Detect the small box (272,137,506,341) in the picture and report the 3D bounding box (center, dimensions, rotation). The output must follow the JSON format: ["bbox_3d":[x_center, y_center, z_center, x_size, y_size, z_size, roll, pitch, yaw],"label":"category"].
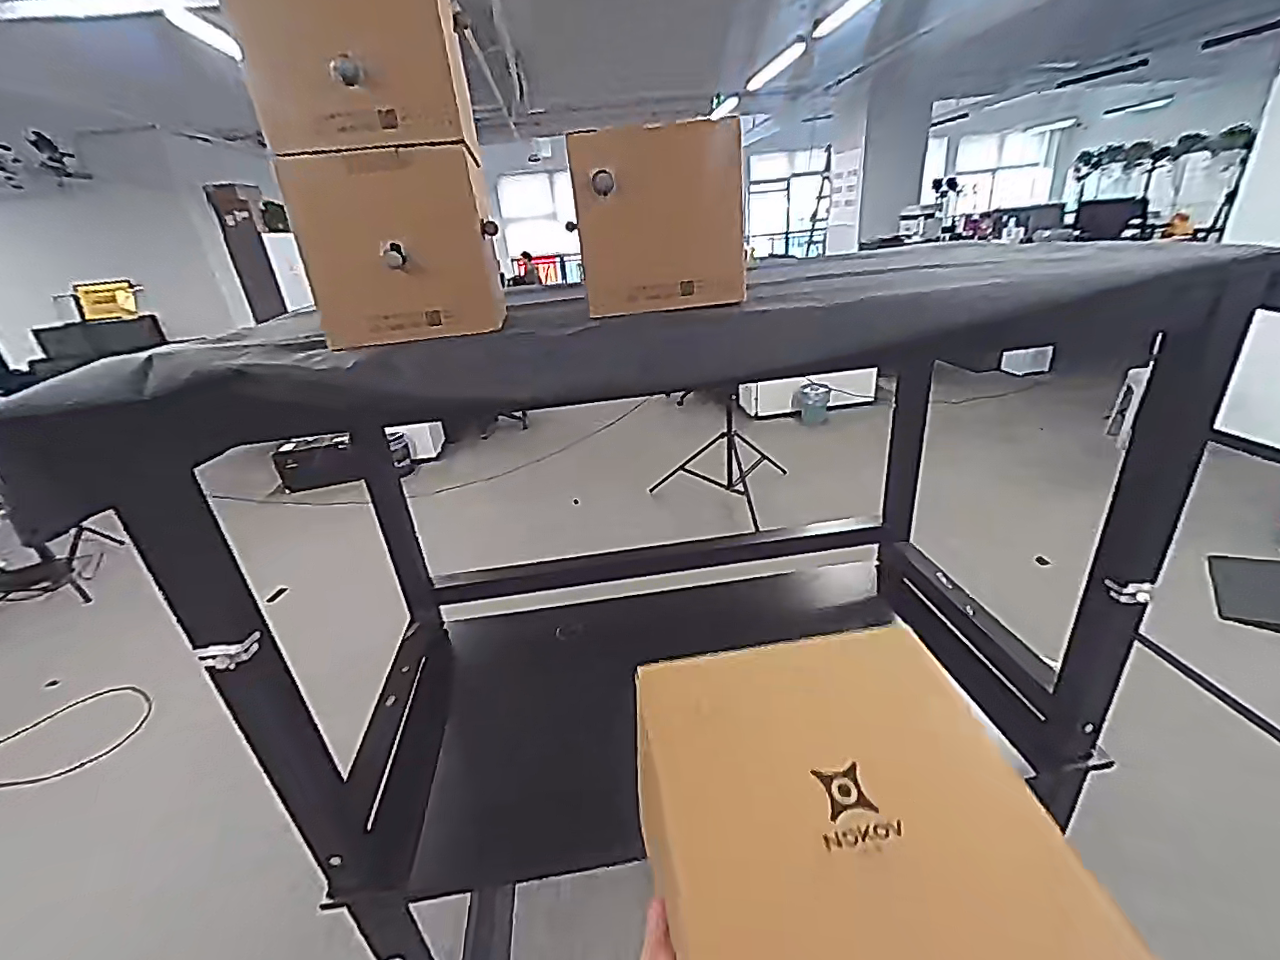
[{"bbox_3d":[-0.241,-0.247,0.575,0.168,0.176,0.179,-9,24,-8],"label":"small box"}]

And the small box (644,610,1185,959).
[{"bbox_3d":[0.095,0.197,0.280,0.168,0.176,0.179,-6,36,-7],"label":"small box"}]

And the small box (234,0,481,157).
[{"bbox_3d":[-0.254,-0.399,0.511,0.168,0.176,0.179,-10,24,-7],"label":"small box"}]
